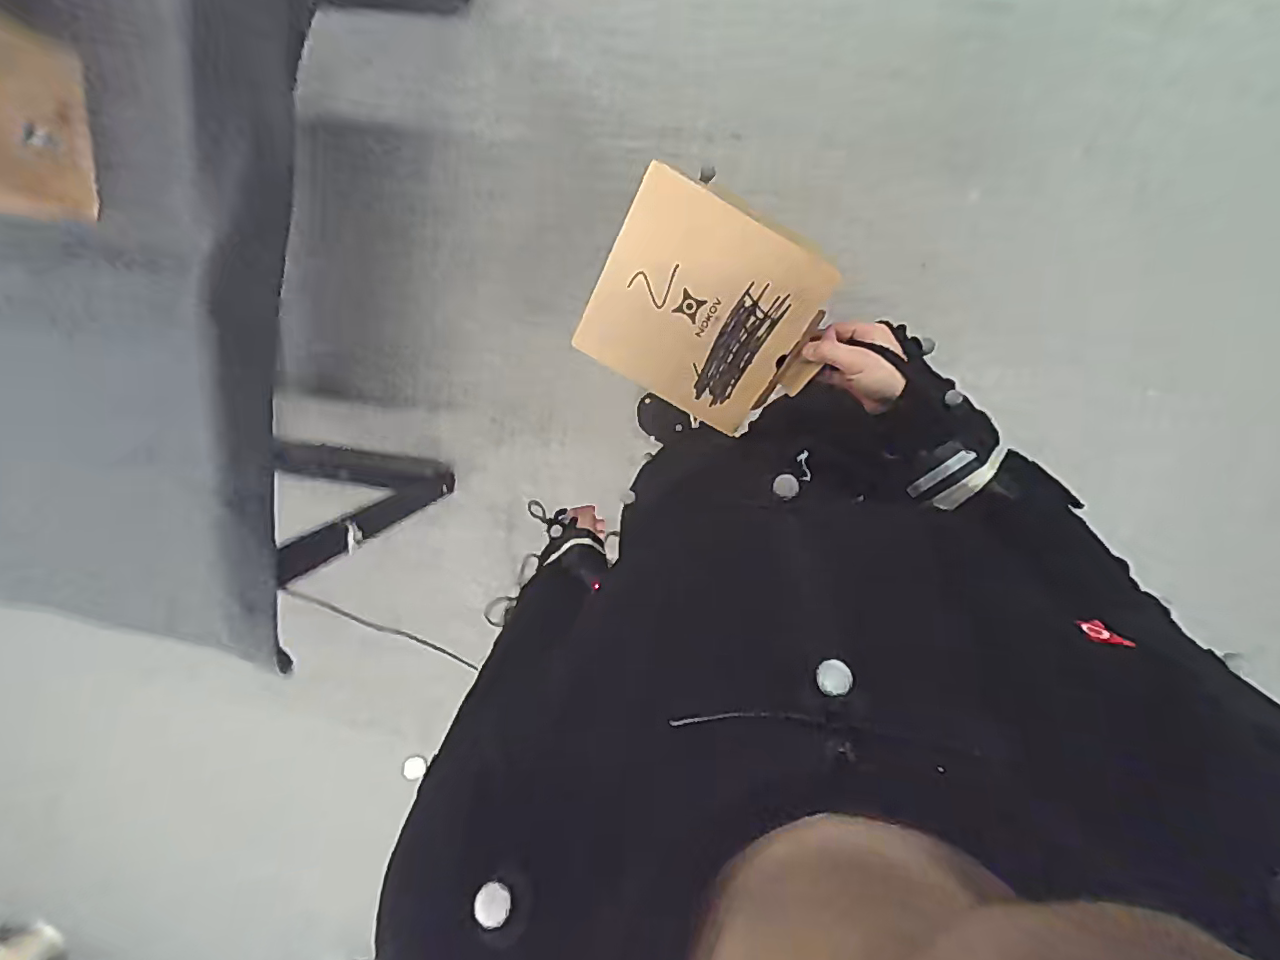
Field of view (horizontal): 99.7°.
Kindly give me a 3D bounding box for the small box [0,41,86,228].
[{"bbox_3d":[-0.721,-0.358,0.533,0.179,0.176,0.168,6,103,5],"label":"small box"}]
